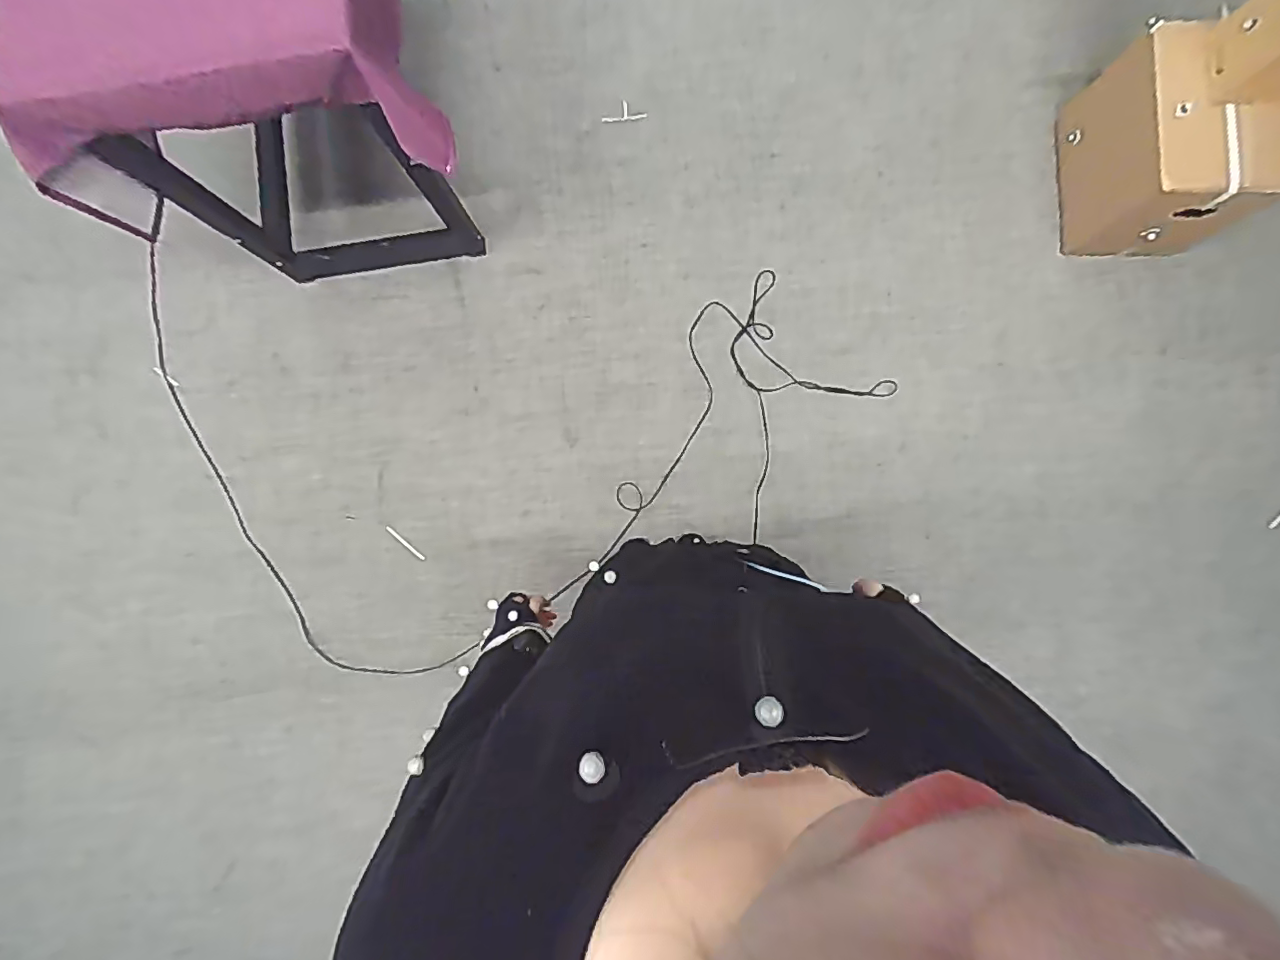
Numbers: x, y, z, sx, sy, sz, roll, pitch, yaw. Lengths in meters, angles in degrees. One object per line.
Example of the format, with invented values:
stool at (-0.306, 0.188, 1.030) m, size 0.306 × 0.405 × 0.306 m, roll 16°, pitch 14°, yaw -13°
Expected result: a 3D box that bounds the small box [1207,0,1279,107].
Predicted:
small box at (1.367, -0.929, 1.147) m, size 0.179 × 0.176 × 0.168 m, roll 1°, pitch 87°, yaw 0°
